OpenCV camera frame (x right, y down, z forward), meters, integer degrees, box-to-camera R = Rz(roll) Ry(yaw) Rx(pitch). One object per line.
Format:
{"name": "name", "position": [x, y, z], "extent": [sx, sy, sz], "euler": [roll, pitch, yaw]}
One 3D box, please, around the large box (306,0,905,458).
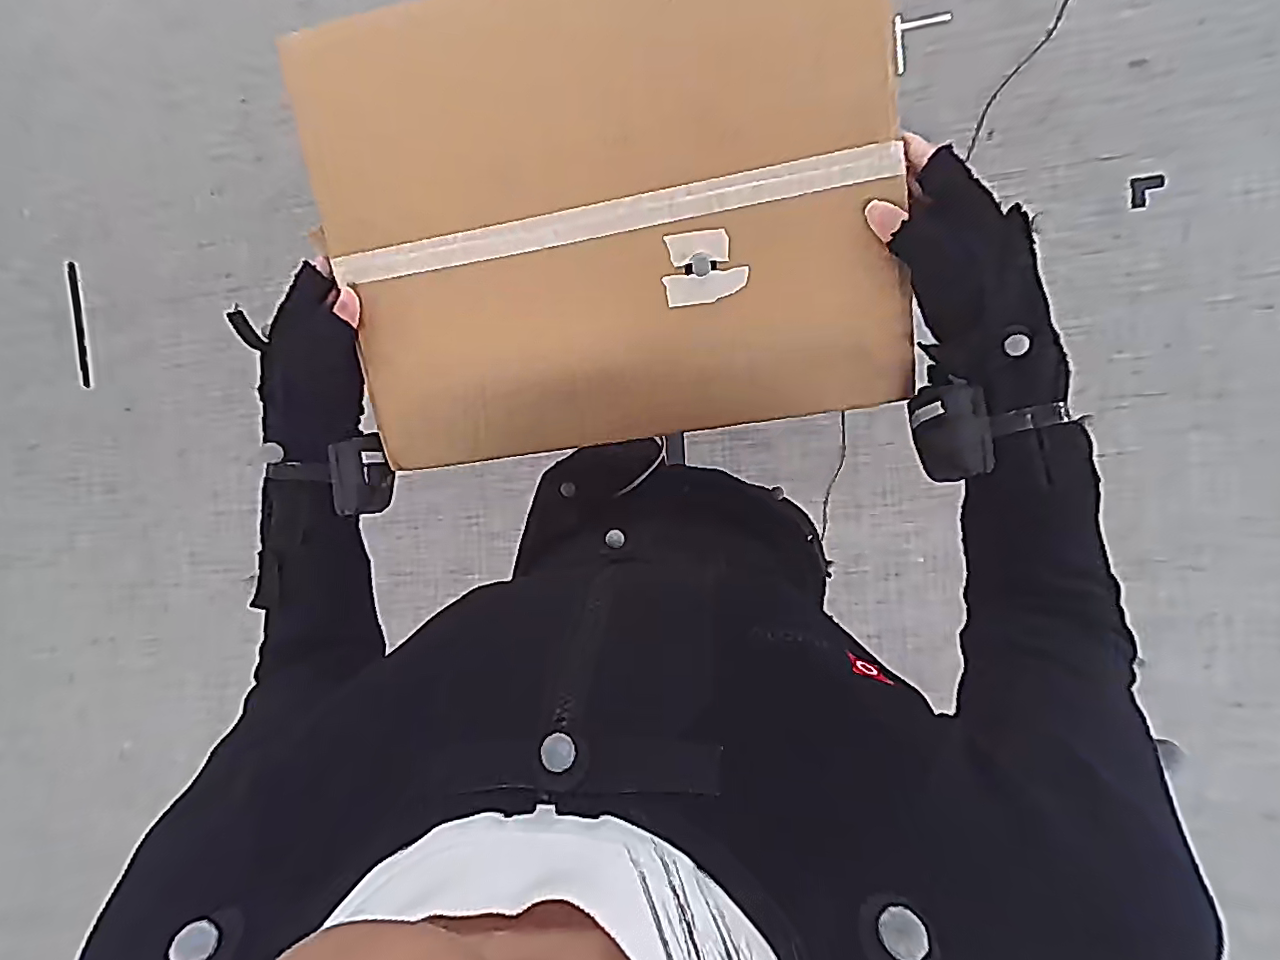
{"name": "large box", "position": [-0.011, -0.227, 0.537], "extent": [0.408, 0.320, 0.320], "euler": [-8, 103, 7]}
